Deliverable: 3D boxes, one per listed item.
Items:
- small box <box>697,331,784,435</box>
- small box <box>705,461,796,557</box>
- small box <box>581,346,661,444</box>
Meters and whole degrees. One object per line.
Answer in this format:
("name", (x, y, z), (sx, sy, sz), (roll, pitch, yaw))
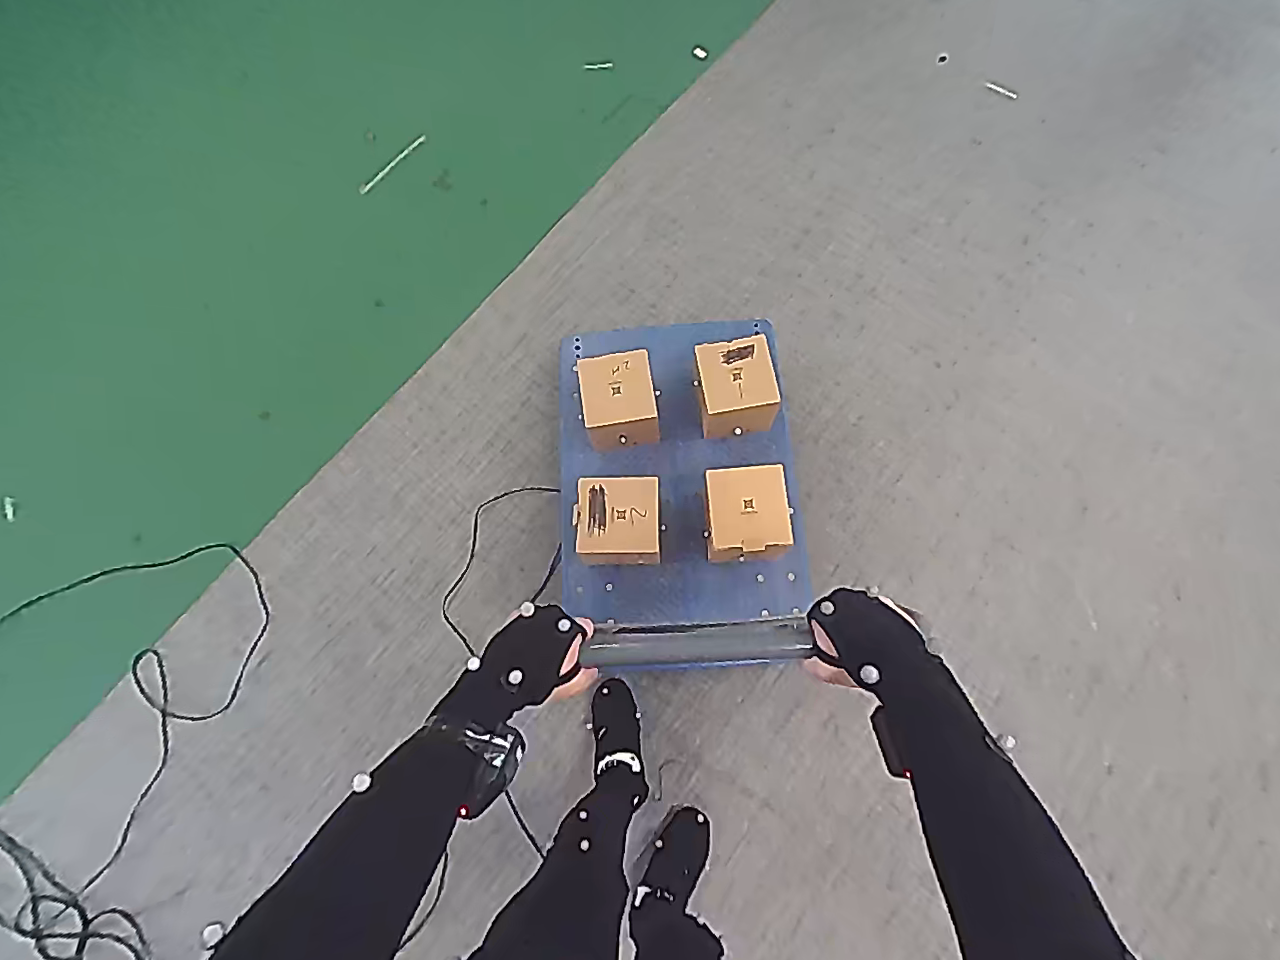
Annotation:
("small box", (0.230, -0.225, 1.289), (0.168, 0.176, 0.179), (-9, 74, 2))
("small box", (0.237, 0.070, 1.205), (0.168, 0.176, 0.179), (-4, 74, 3))
("small box", (-0.042, -0.195, 1.298), (0.168, 0.176, 0.179), (-8, 73, 0))
